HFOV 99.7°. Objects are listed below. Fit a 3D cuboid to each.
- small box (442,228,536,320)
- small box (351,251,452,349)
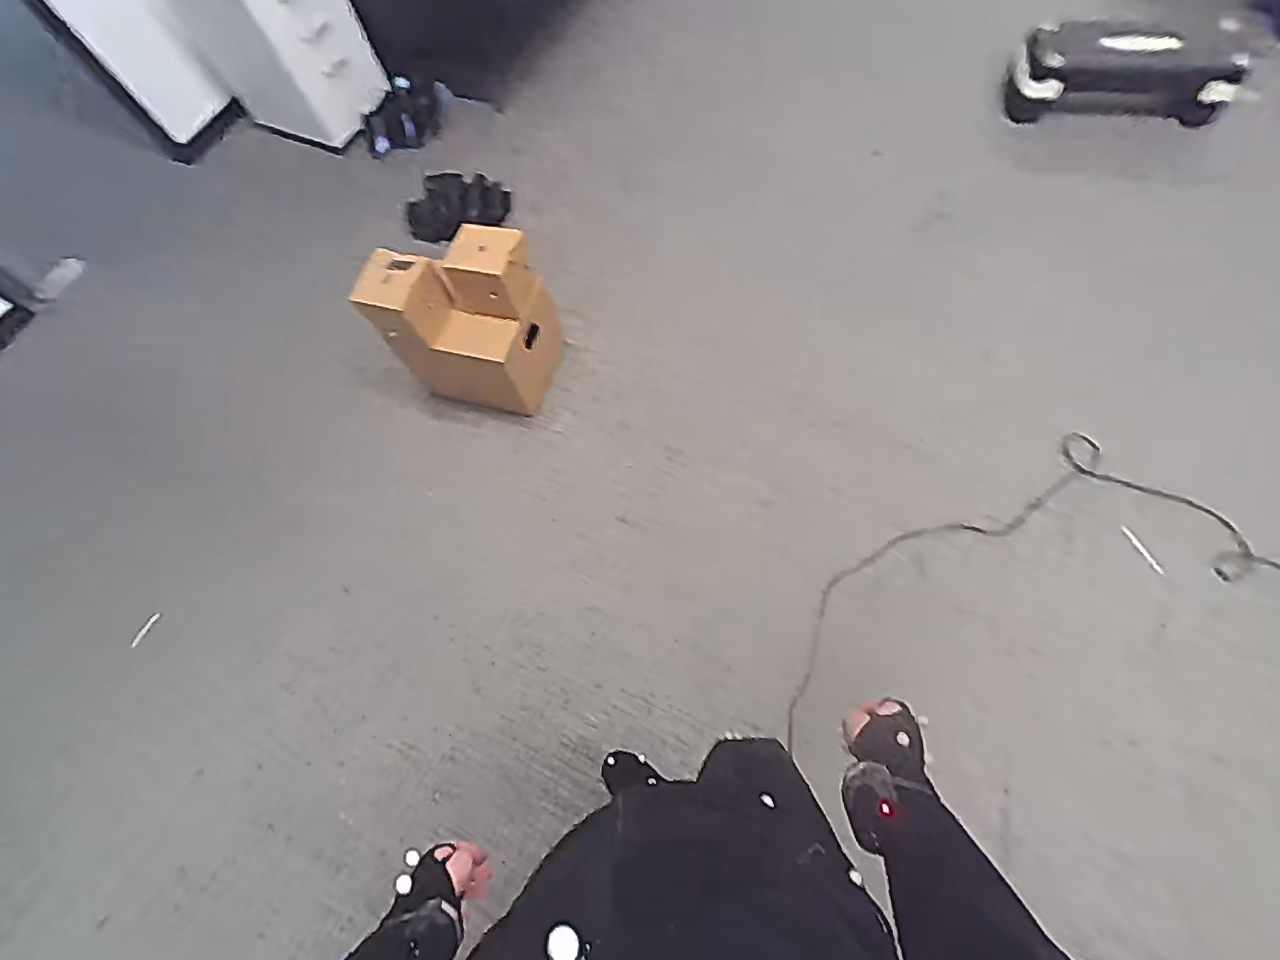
[{"bbox_3d":[-0.409,-0.569,1.505,0.179,0.176,0.168,10,65,12],"label":"small box"},{"bbox_3d":[-0.650,-0.497,1.502,0.168,0.176,0.179,15,72,13],"label":"small box"}]
